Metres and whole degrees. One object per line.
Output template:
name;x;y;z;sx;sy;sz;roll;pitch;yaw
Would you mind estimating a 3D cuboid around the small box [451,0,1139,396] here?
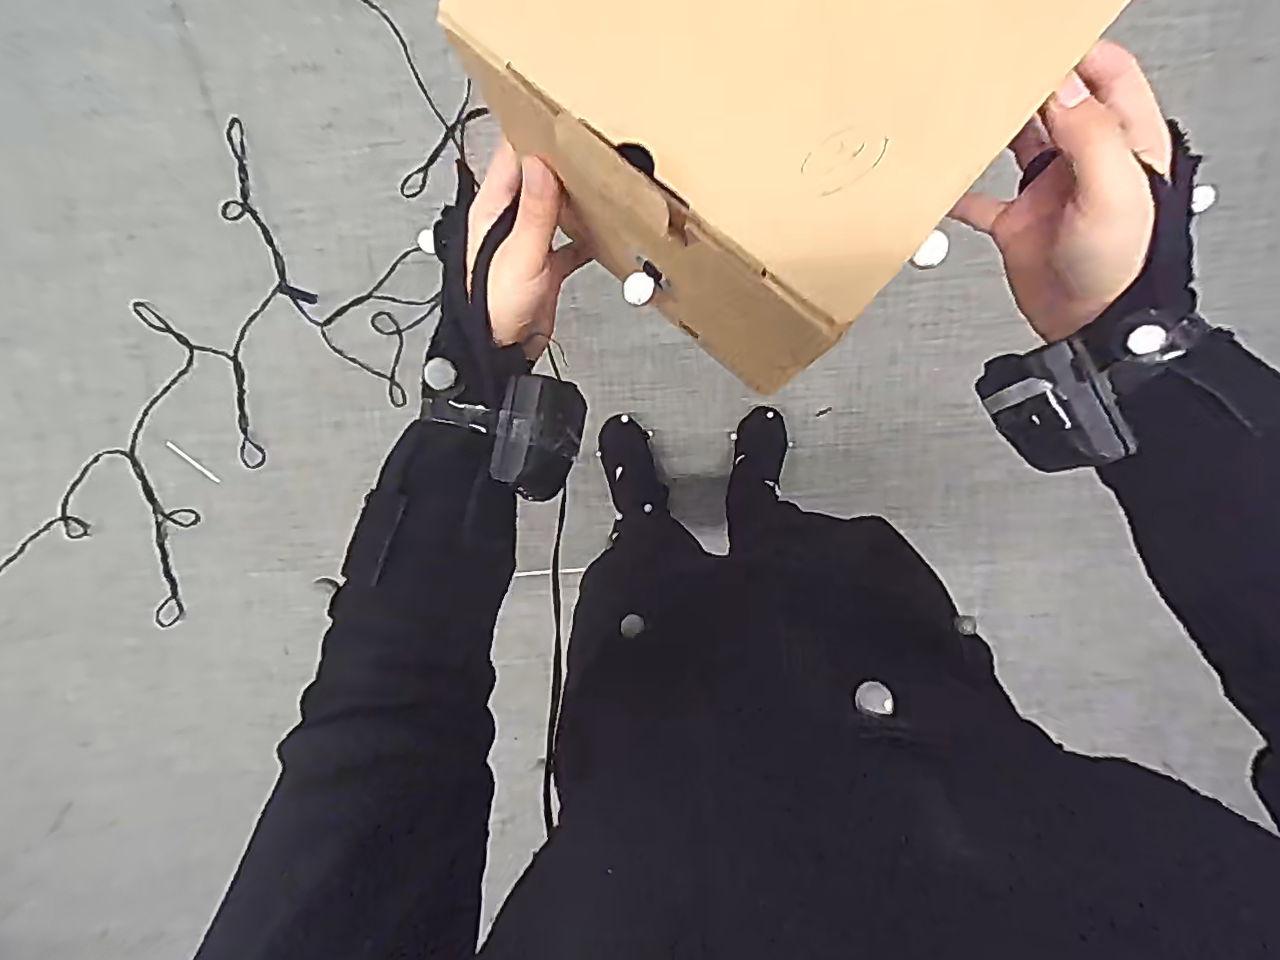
small box;0.060;-0.156;0.247;0.168;0.176;0.179;41;97;3
